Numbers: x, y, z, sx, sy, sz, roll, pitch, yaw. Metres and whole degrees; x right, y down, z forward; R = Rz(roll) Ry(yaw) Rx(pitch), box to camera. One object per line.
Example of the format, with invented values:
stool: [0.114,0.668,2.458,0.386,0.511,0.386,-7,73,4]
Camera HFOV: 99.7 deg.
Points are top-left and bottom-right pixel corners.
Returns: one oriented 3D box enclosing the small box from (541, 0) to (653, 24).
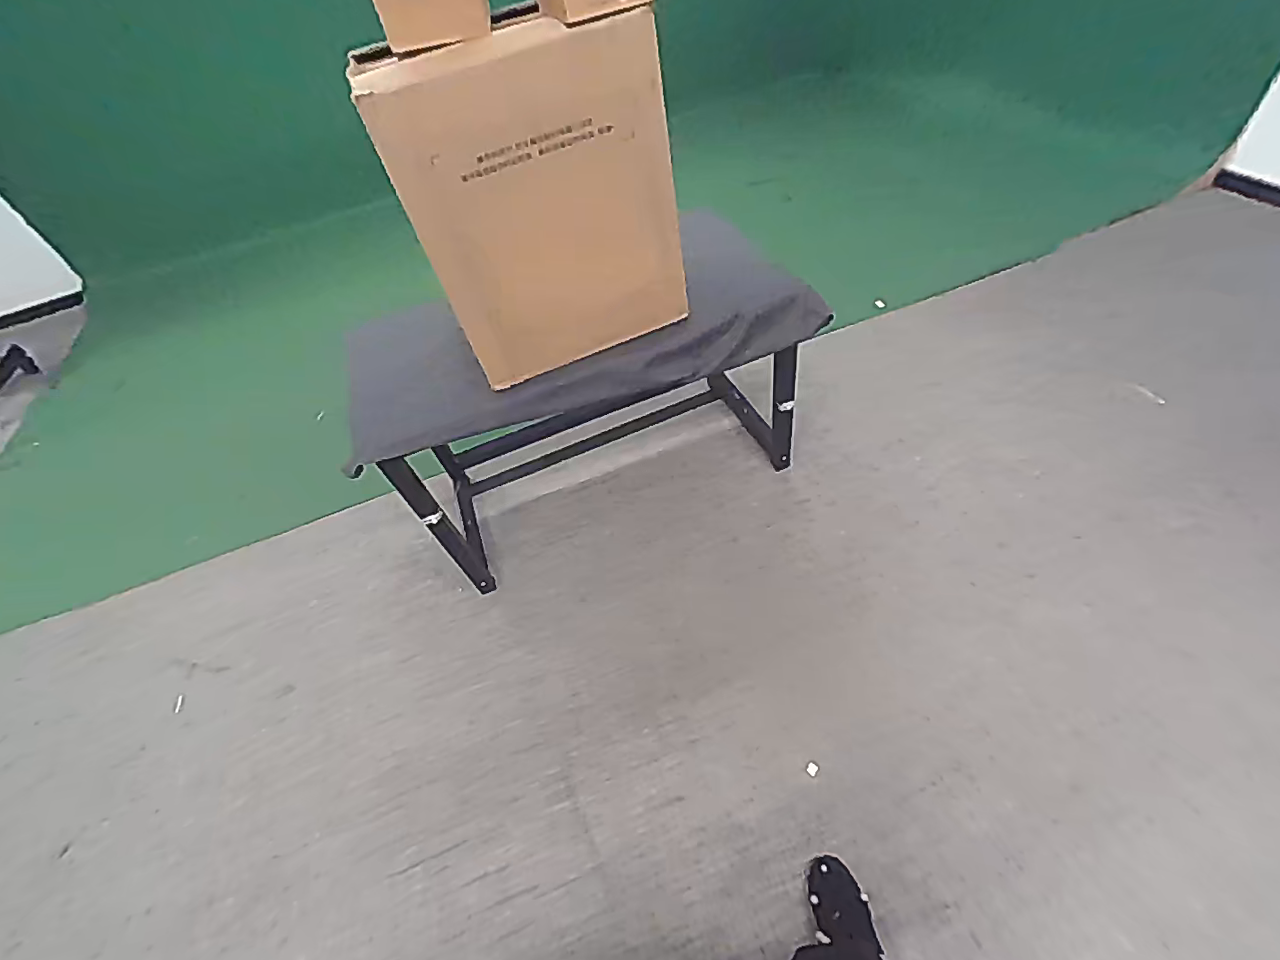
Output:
small box: [-0.090,-0.900,0.913,0.168,0.176,0.179,-23,50,-8]

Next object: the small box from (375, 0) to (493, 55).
small box: [-0.368,-0.871,0.931,0.179,0.176,0.168,-12,57,1]
